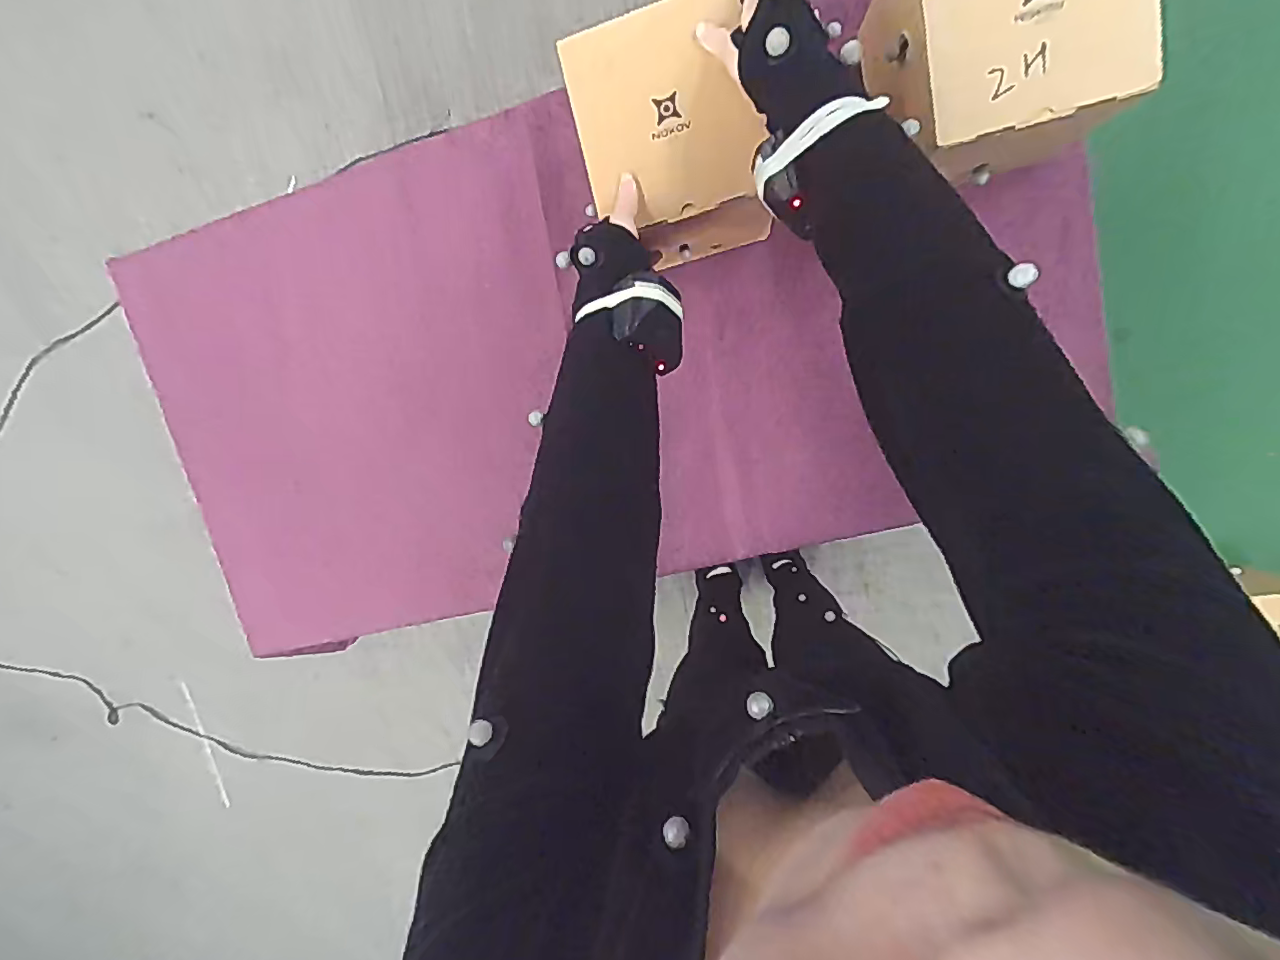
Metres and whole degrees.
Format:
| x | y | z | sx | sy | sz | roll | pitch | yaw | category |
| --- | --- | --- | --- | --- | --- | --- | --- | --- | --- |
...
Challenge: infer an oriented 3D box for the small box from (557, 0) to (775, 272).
| x | y | z | sx | sy | sz | roll | pitch | yaw | category |
| --- | --- | --- | --- | --- | --- | --- | --- | --- | --- |
| 0.032 | -0.336 | 0.557 | 0.168 | 0.176 | 0.179 | -13 | 99 | 10 | small box |

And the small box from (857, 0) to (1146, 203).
| x | y | z | sx | sy | sz | roll | pitch | yaw | category |
| --- | --- | --- | --- | --- | --- | --- | --- | --- | --- |
| 0.311 | -0.388 | 0.500 | 0.168 | 0.176 | 0.179 | -10 | 101 | 11 | small box |
